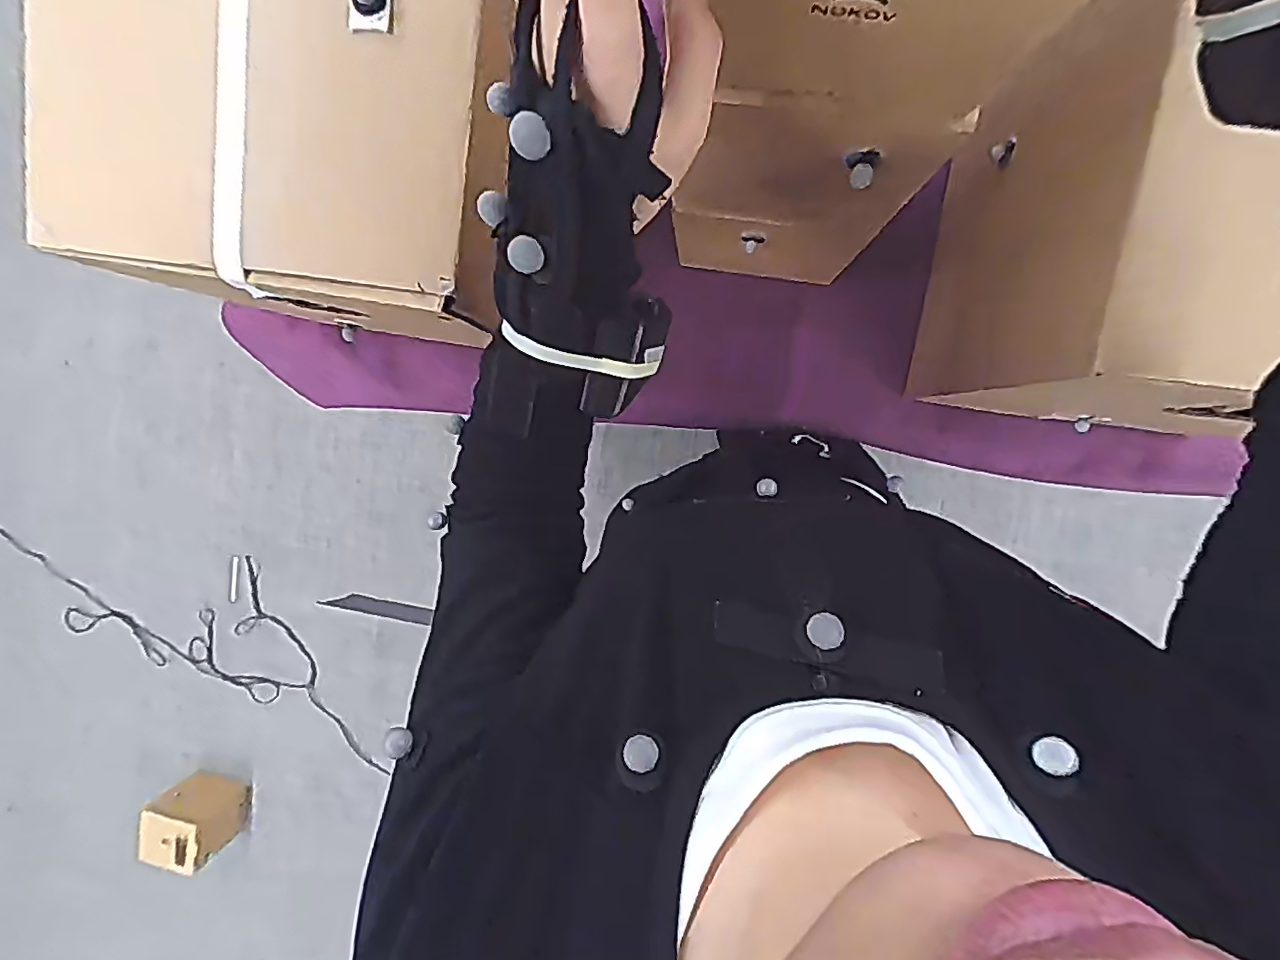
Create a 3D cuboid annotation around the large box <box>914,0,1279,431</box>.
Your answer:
[{"bbox_3d":[0.457,-0.252,0.427,0.320,0.320,0.408,8,96,5],"label":"large box"}]
